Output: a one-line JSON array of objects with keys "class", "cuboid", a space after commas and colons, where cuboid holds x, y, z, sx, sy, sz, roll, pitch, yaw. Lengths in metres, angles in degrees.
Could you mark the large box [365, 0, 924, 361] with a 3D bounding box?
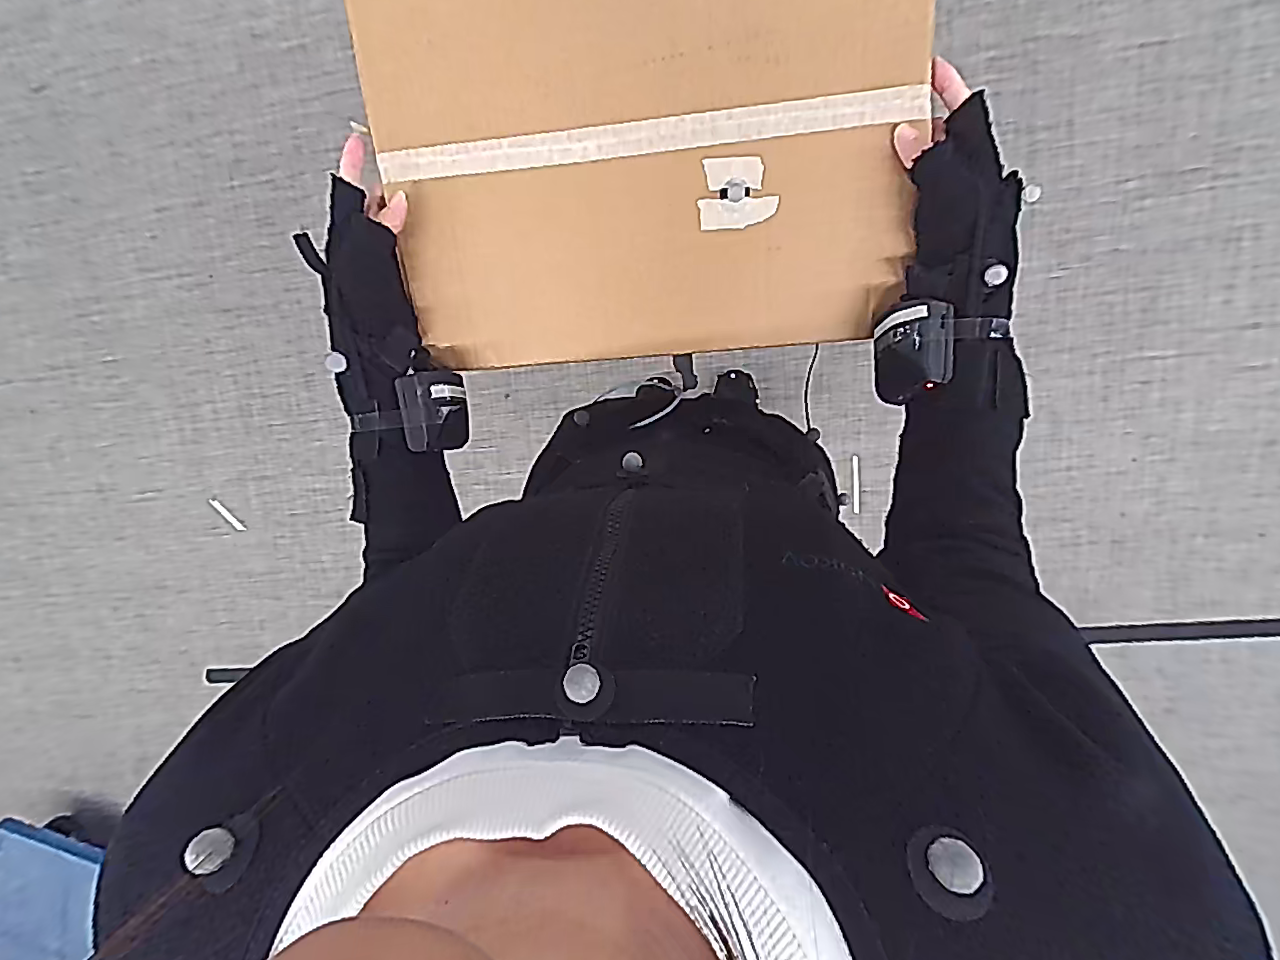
[{"class": "large box", "cuboid": [0.013, -0.308, 0.551, 0.408, 0.320, 0.320, -4, 108, 5]}]
